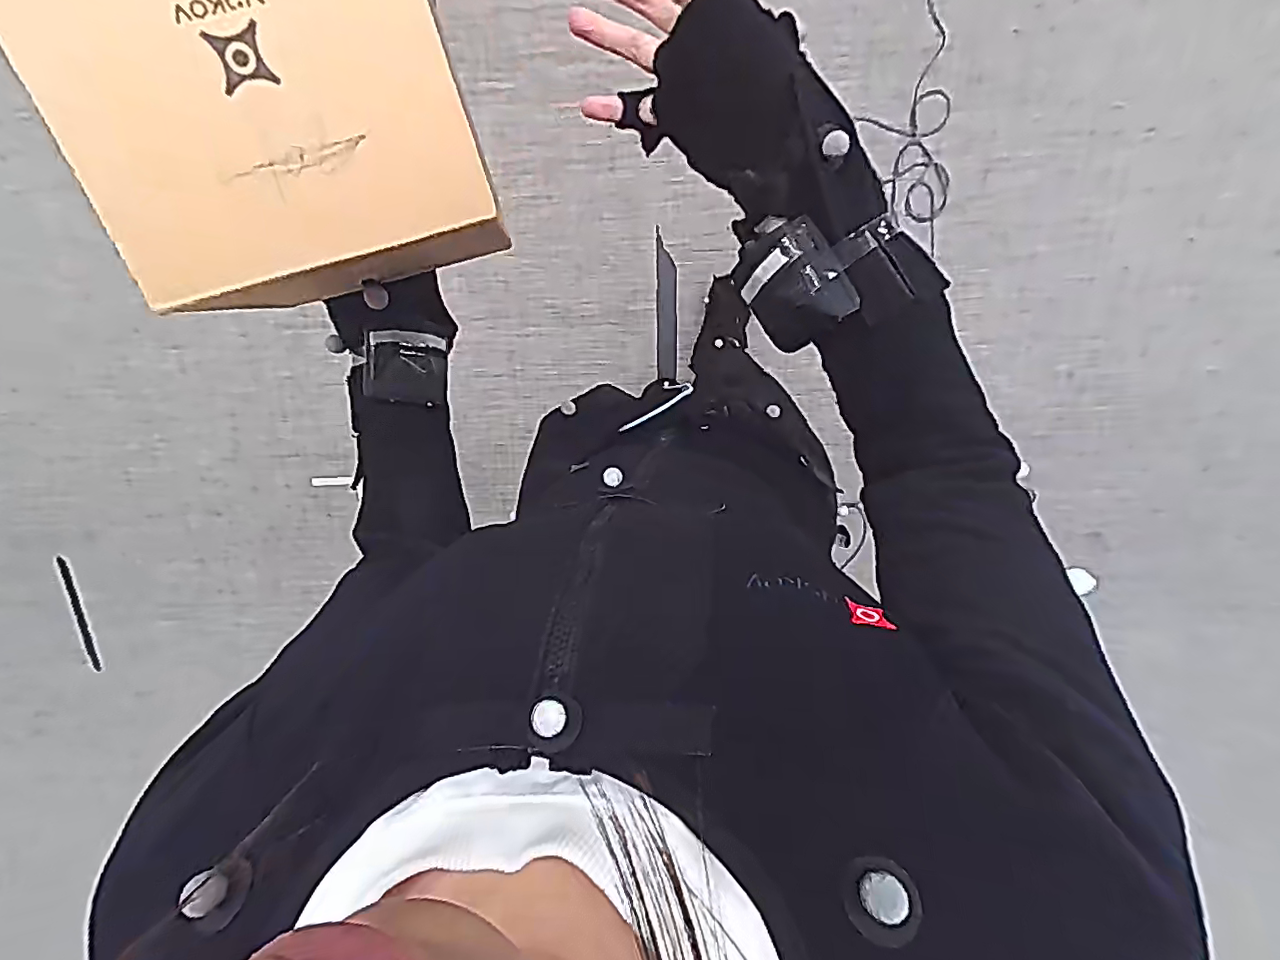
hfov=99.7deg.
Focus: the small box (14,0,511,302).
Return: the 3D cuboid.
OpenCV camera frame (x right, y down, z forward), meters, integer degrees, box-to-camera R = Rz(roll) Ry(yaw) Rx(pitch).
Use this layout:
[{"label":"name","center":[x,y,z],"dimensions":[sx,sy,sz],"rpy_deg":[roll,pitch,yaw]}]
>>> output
[{"label":"small box","center":[-0.182,-0.210,0.314],"dimensions":[0.168,0.176,0.179],"rpy_deg":[-18,111,-4]}]
